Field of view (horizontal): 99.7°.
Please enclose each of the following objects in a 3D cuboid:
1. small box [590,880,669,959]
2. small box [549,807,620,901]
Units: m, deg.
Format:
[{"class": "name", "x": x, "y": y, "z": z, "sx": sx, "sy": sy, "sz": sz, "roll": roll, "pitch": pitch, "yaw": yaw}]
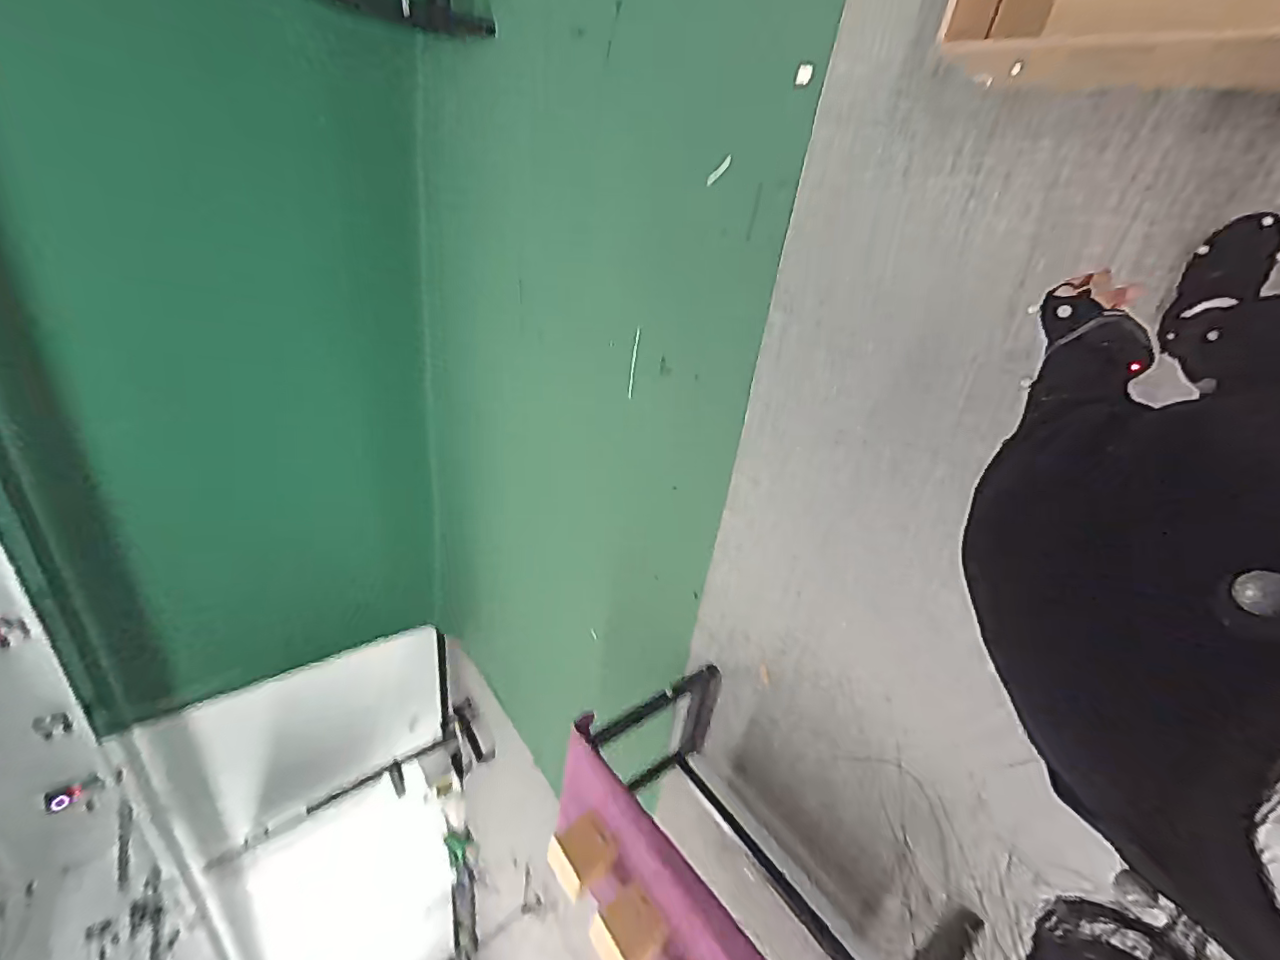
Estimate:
[{"class": "small box", "x": -0.030, "y": 1.398, "z": 1.677, "sx": 0.168, "sy": 0.176, "sz": 0.179, "roll": 40, "pitch": 130, "yaw": 38}, {"class": "small box", "x": -0.188, "y": 1.268, "z": 1.839, "sx": 0.168, "sy": 0.176, "sz": 0.179, "roll": 41, "pitch": 130, "yaw": 36}]
